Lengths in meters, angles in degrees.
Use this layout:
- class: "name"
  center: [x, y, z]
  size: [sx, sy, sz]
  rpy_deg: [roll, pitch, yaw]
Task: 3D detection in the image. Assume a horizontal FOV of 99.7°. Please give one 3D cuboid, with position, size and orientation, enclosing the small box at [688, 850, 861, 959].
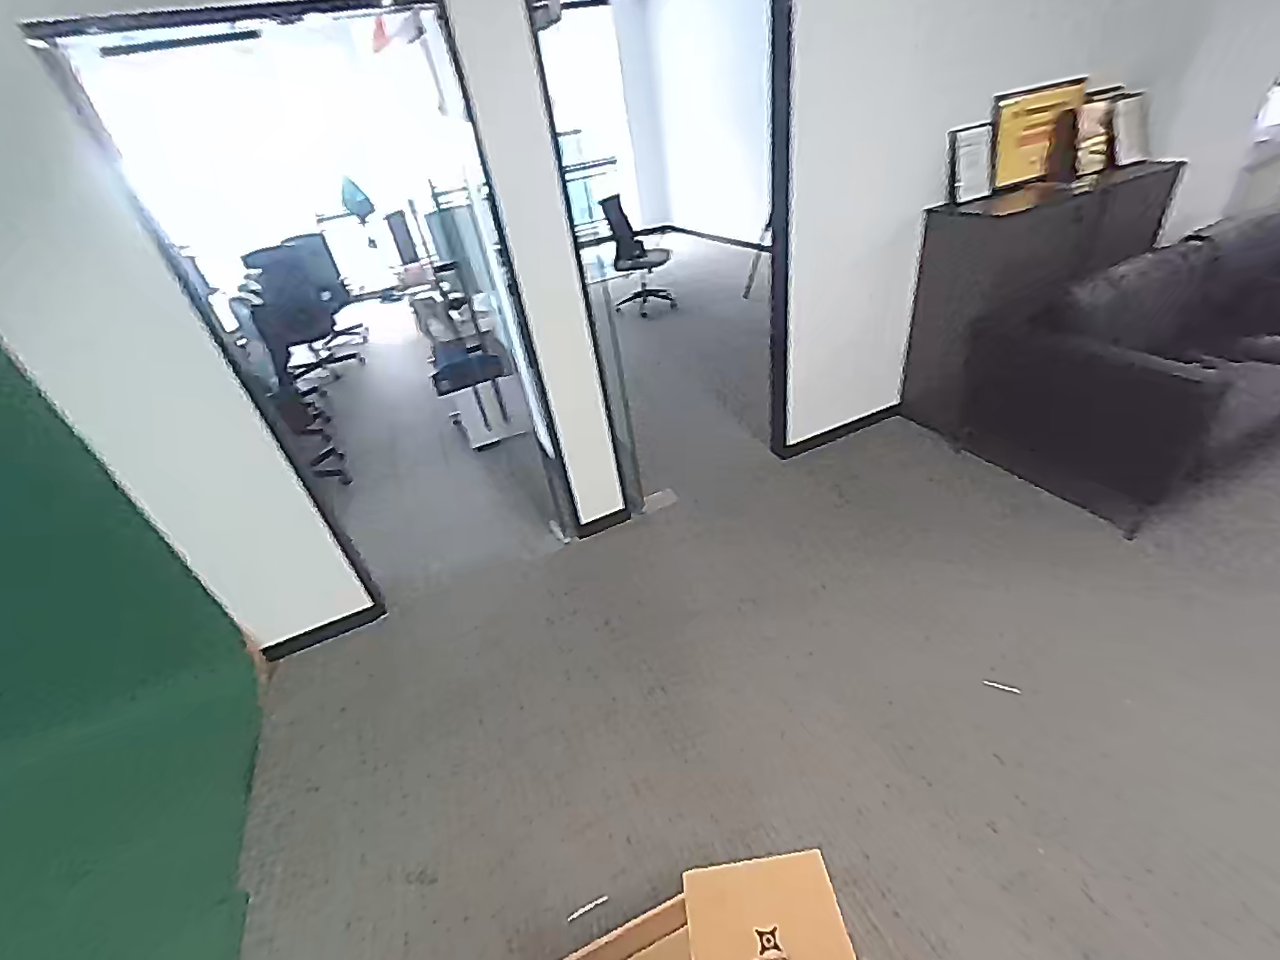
- class: "small box"
  center: [0.149, 0.548, 0.583]
  size: [0.168, 0.176, 0.179]
  rpy_deg: [-10, 22, 2]
